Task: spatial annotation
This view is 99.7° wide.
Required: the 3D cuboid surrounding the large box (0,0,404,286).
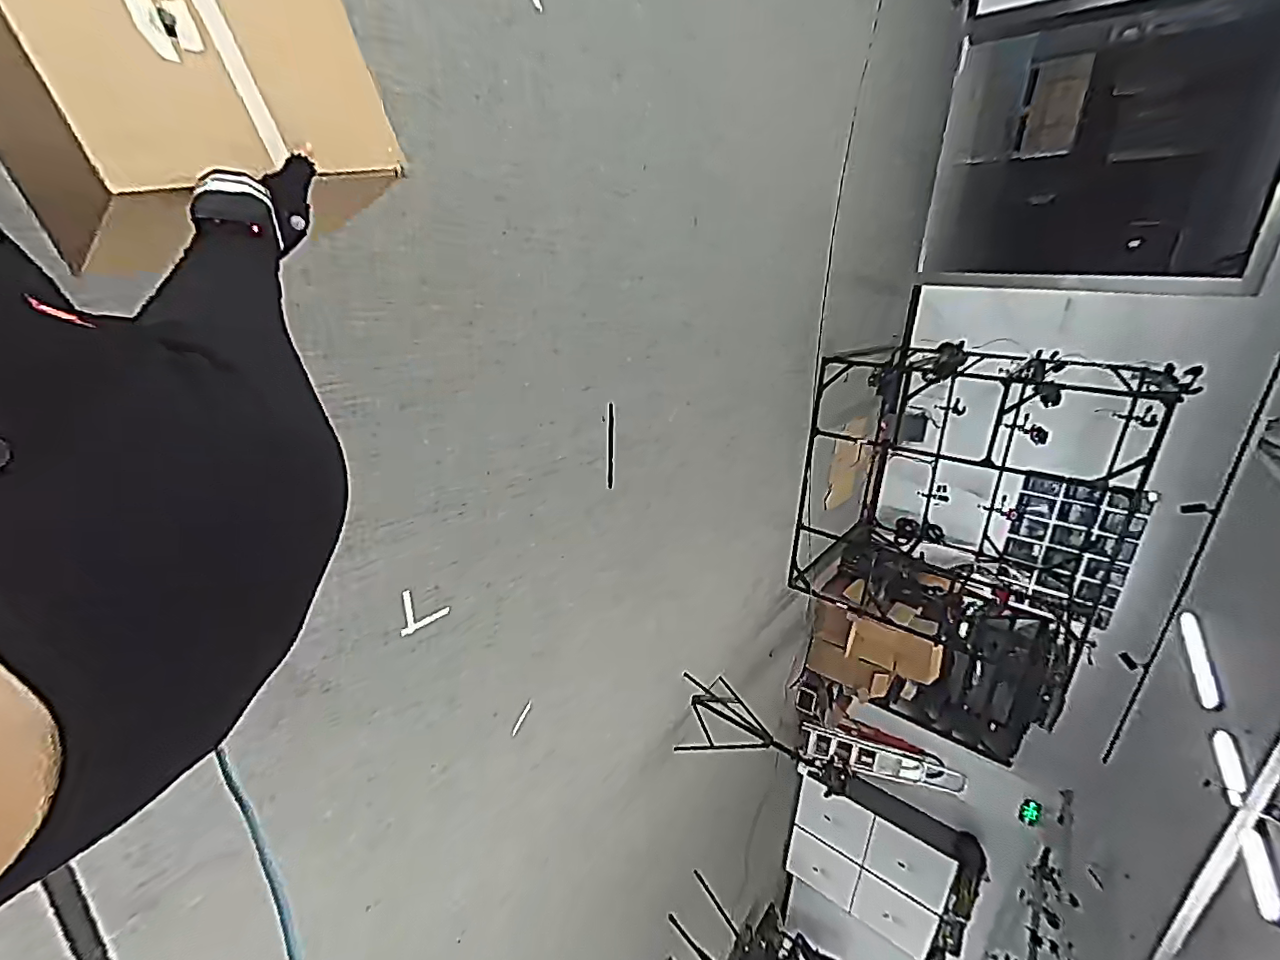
[{"bbox_3d":[-0.576,-0.497,0.644,0.320,0.320,0.408,-39,118,-44],"label":"large box"}]
